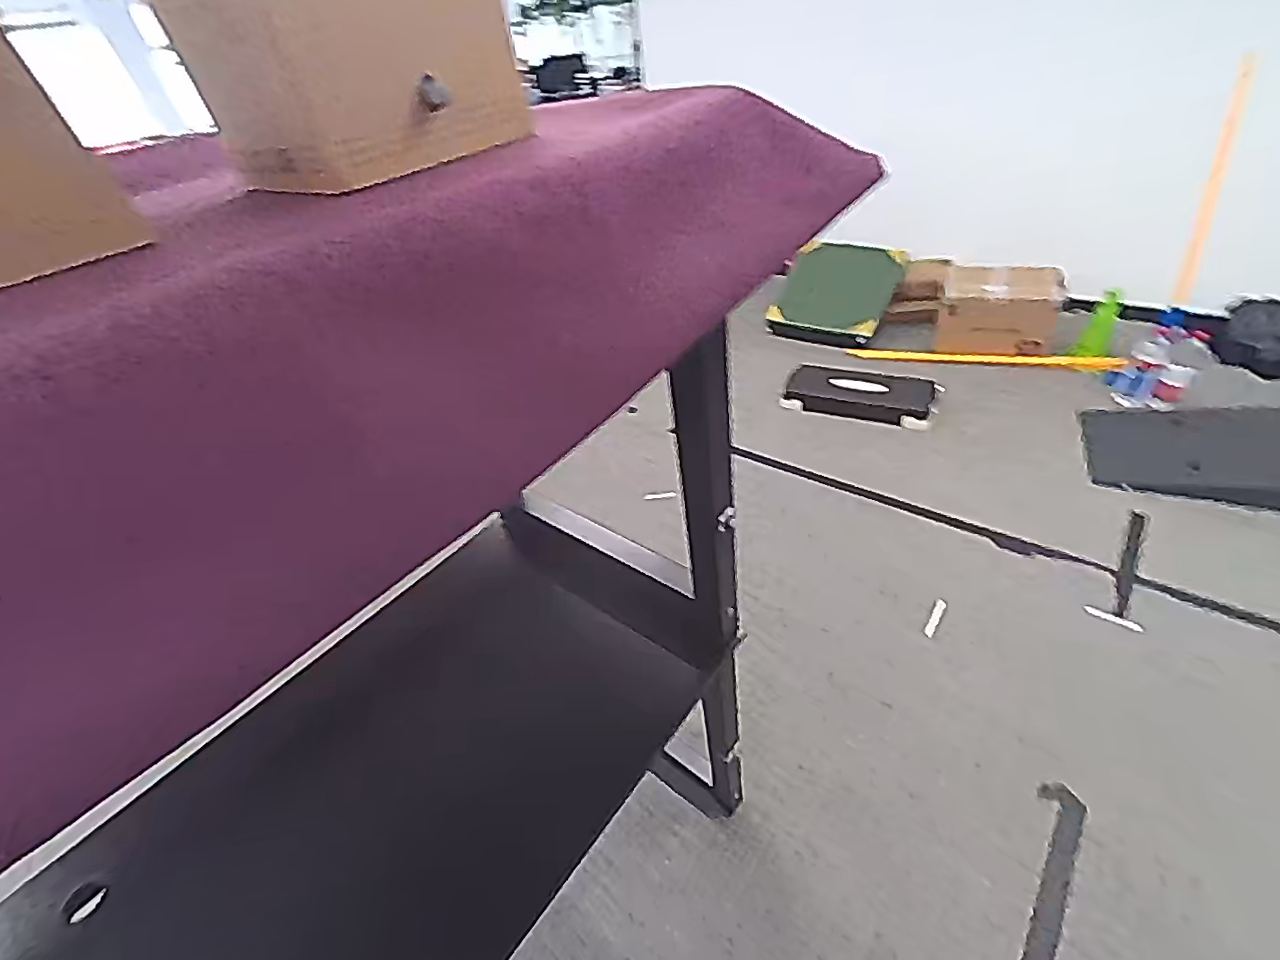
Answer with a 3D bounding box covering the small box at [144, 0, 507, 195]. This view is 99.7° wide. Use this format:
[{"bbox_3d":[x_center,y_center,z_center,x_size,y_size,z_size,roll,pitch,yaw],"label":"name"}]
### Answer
[{"bbox_3d":[-0.215,-0.316,0.381,0.168,0.176,0.179,20,48,33],"label":"small box"}]
